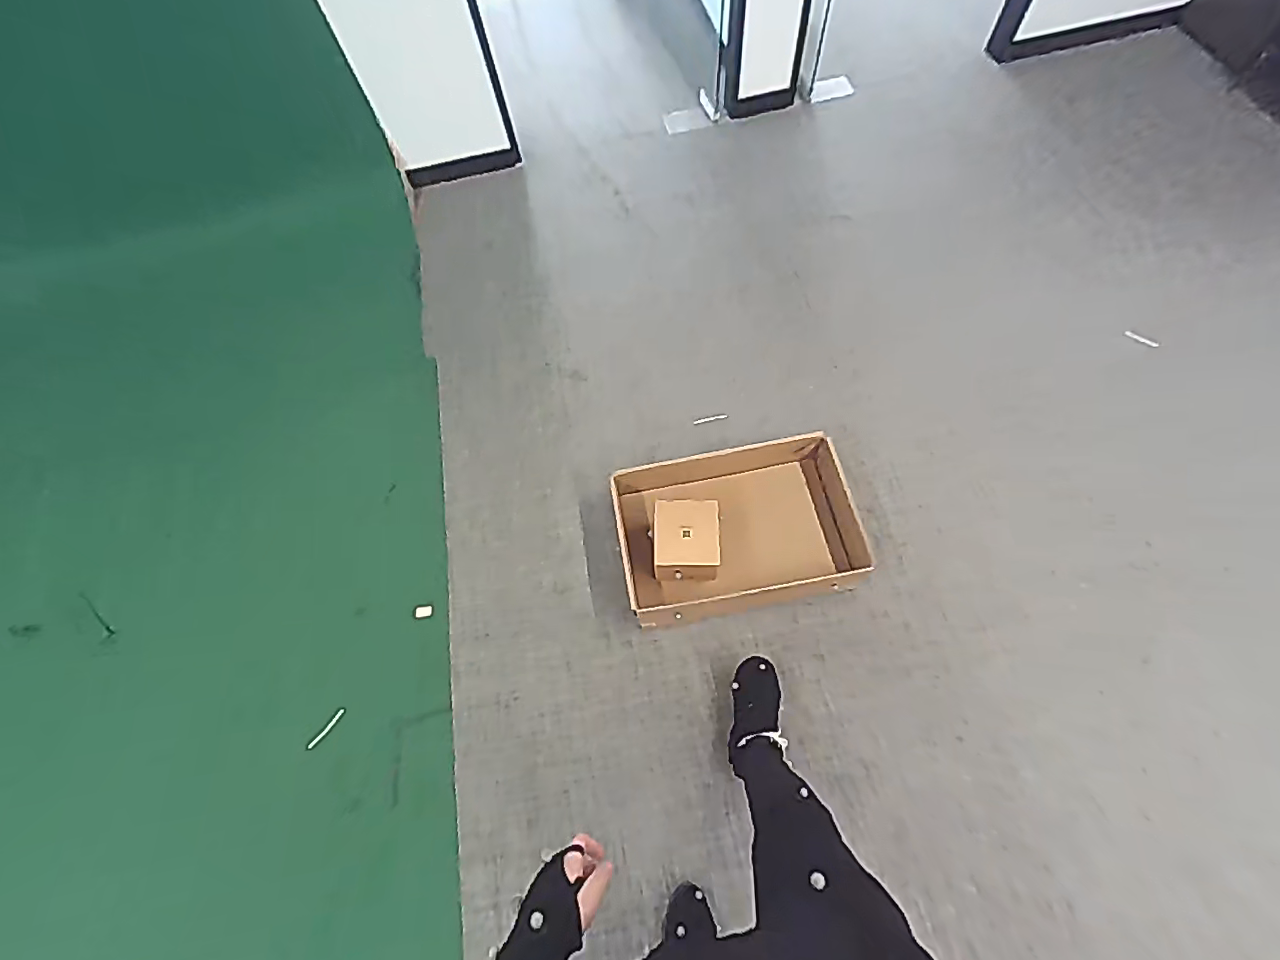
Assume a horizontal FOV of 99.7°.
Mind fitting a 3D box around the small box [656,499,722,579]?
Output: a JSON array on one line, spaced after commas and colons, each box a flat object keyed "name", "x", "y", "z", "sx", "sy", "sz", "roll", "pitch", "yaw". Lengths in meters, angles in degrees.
[{"name": "small box", "x": 0.130, "y": 0.162, "z": 1.436, "sx": 0.168, "sy": 0.176, "sz": 0.179, "roll": -1, "pitch": 64, "yaw": 4}]
